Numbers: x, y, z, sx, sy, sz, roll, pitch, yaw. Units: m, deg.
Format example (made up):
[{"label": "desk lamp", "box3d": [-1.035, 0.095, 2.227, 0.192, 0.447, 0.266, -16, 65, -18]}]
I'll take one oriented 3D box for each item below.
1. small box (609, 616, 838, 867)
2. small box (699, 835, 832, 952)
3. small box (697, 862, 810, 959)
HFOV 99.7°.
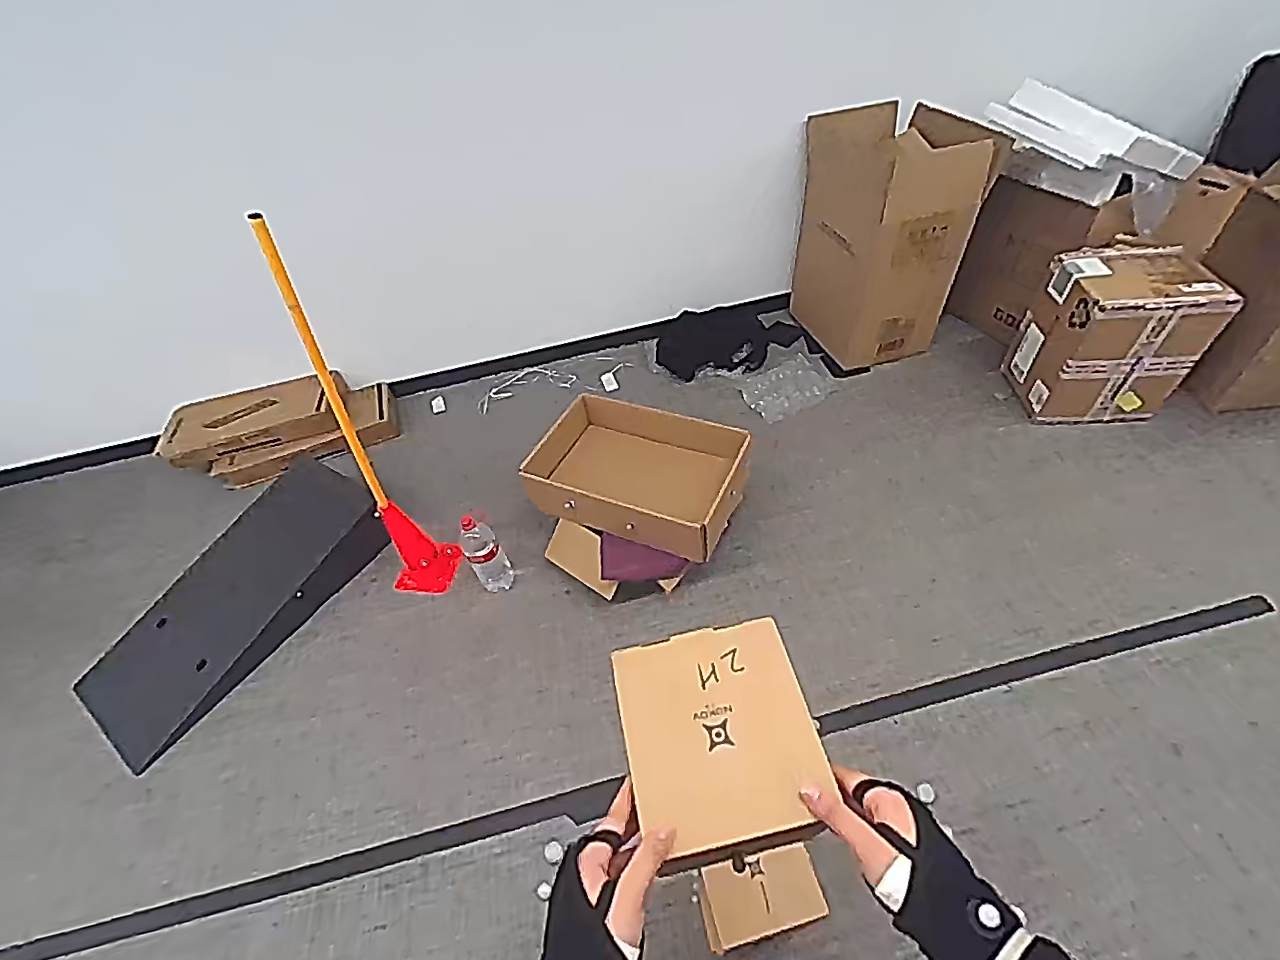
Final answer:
[{"label": "small box", "box3d": [0.073, 0.265, 0.540, 0.168, 0.176, 0.179, -12, 50, -4]}, {"label": "small box", "box3d": [0.187, 0.636, 0.884, 0.168, 0.176, 0.179, -15, 47, -5]}, {"label": "small box", "box3d": [0.201, 0.750, 1.003, 0.168, 0.176, 0.179, -15, 46, -5]}]
